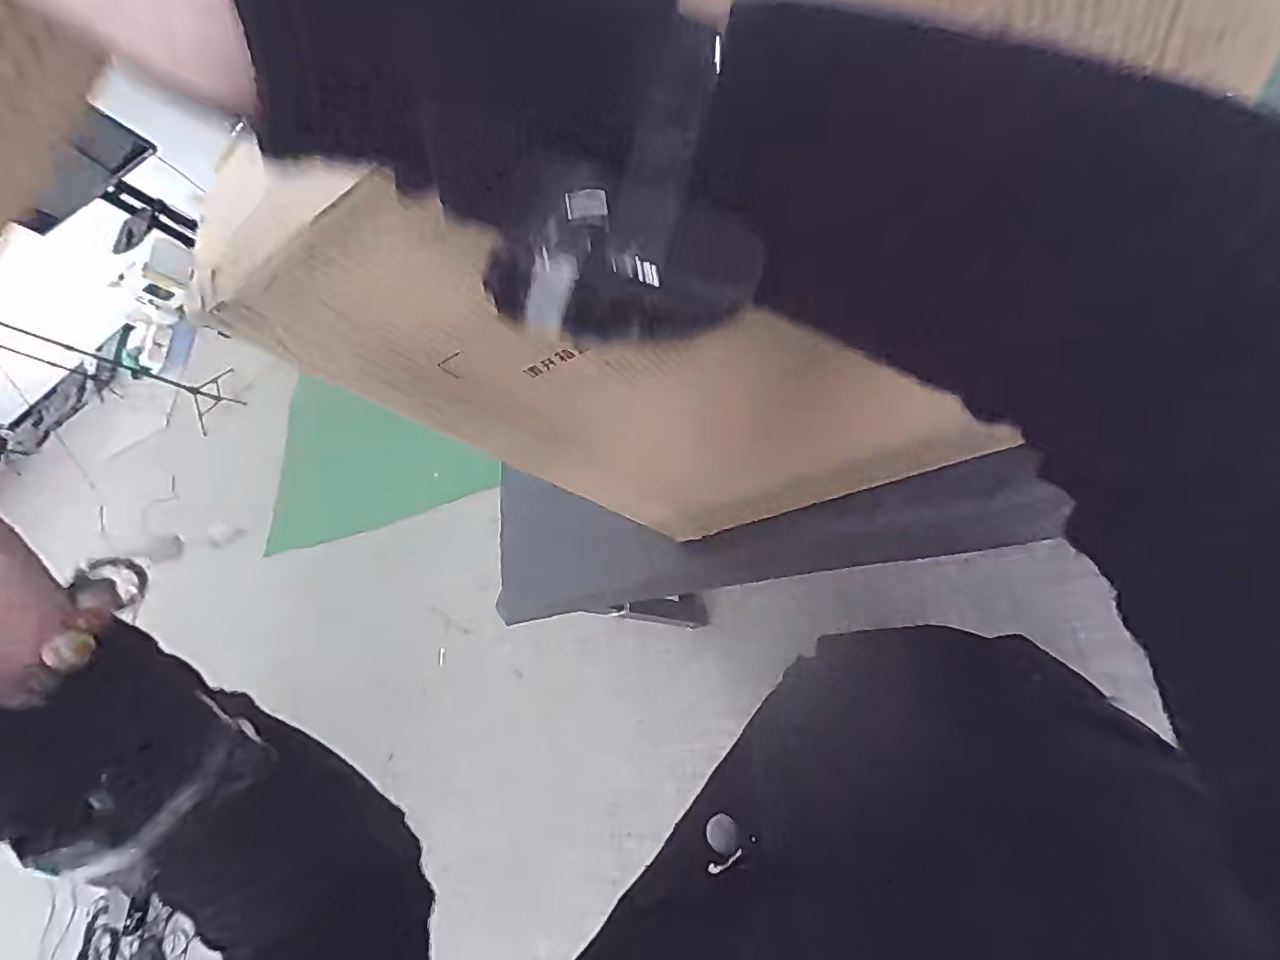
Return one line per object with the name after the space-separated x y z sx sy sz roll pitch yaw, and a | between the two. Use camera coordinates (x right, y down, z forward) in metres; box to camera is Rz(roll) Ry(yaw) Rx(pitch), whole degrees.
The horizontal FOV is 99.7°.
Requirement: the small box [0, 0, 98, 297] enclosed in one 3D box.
-0.258 -0.095 0.086 0.168 0.176 0.179 43 102 4 | small box
